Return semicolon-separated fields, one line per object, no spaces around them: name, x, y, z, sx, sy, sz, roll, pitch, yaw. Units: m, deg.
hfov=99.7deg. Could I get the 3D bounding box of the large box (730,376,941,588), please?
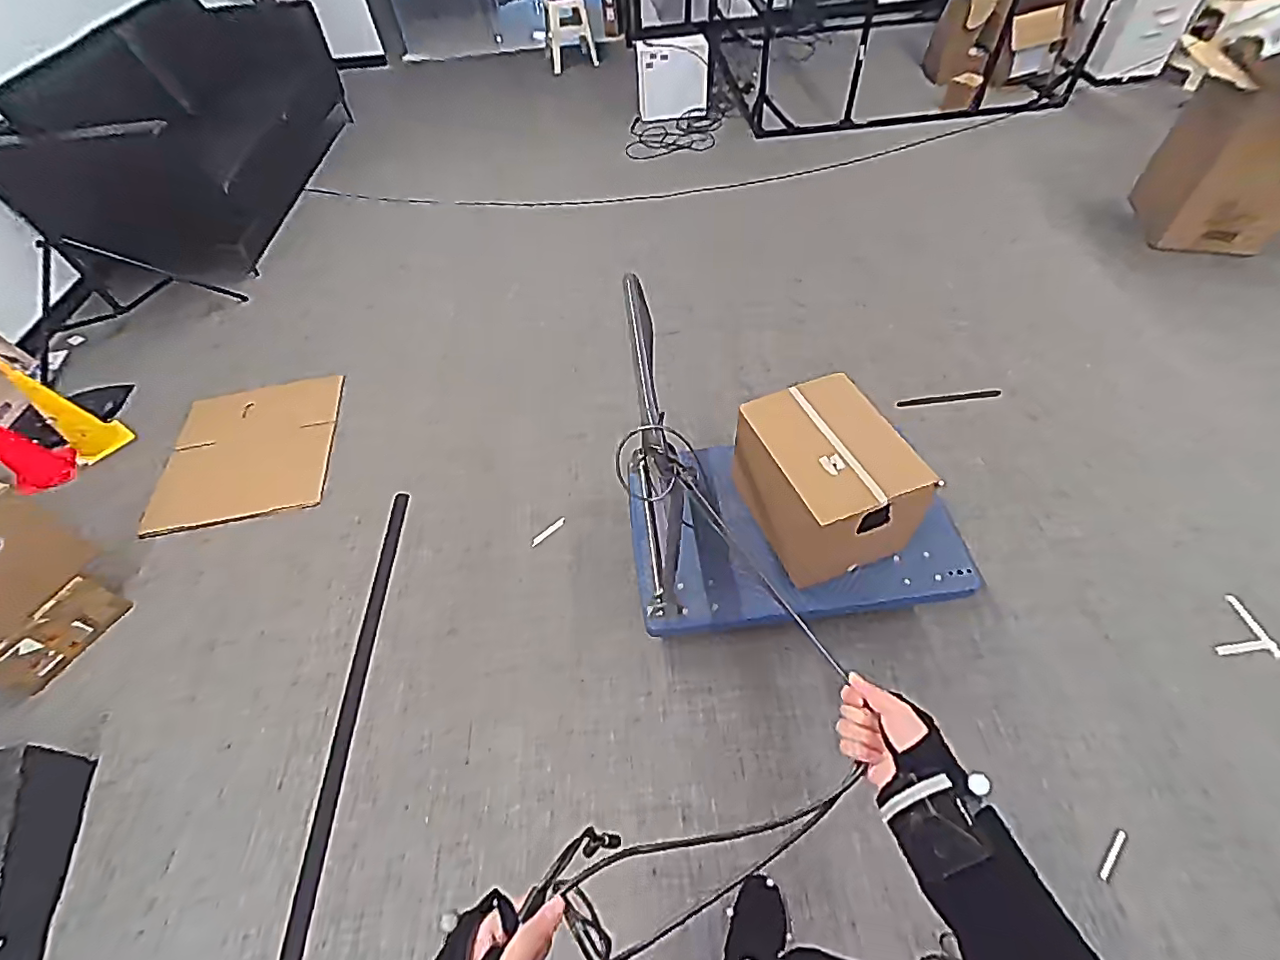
large box;0.469;0.003;1.413;0.320;0.320;0.408;-19;55;-9
